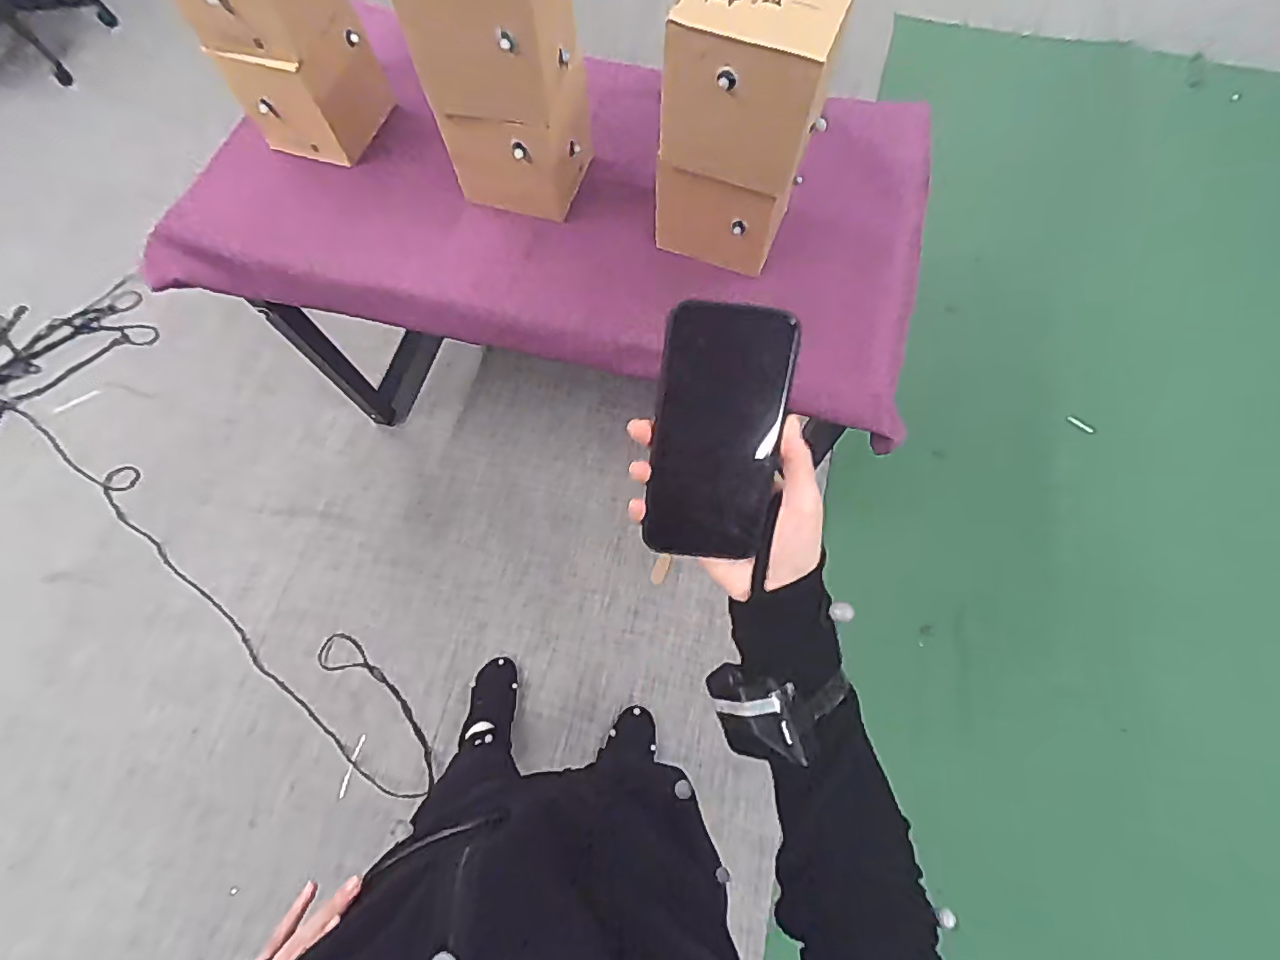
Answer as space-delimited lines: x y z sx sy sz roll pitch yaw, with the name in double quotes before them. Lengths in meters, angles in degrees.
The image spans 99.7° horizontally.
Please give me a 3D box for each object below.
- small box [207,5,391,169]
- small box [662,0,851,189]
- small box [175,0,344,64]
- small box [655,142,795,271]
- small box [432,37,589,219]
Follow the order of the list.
"small box" -0.559 -0.668 0.917 0.168 0.176 0.179 16 70 7
"small box" 0.133 -0.493 0.658 0.179 0.176 0.168 21 70 8
"small box" -0.560 -0.735 0.766 0.168 0.176 0.179 11 70 5
"small box" 0.133 -0.449 0.817 0.179 0.176 0.168 21 70 10
"small box" -0.190 -0.549 0.861 0.179 0.176 0.168 15 70 7
